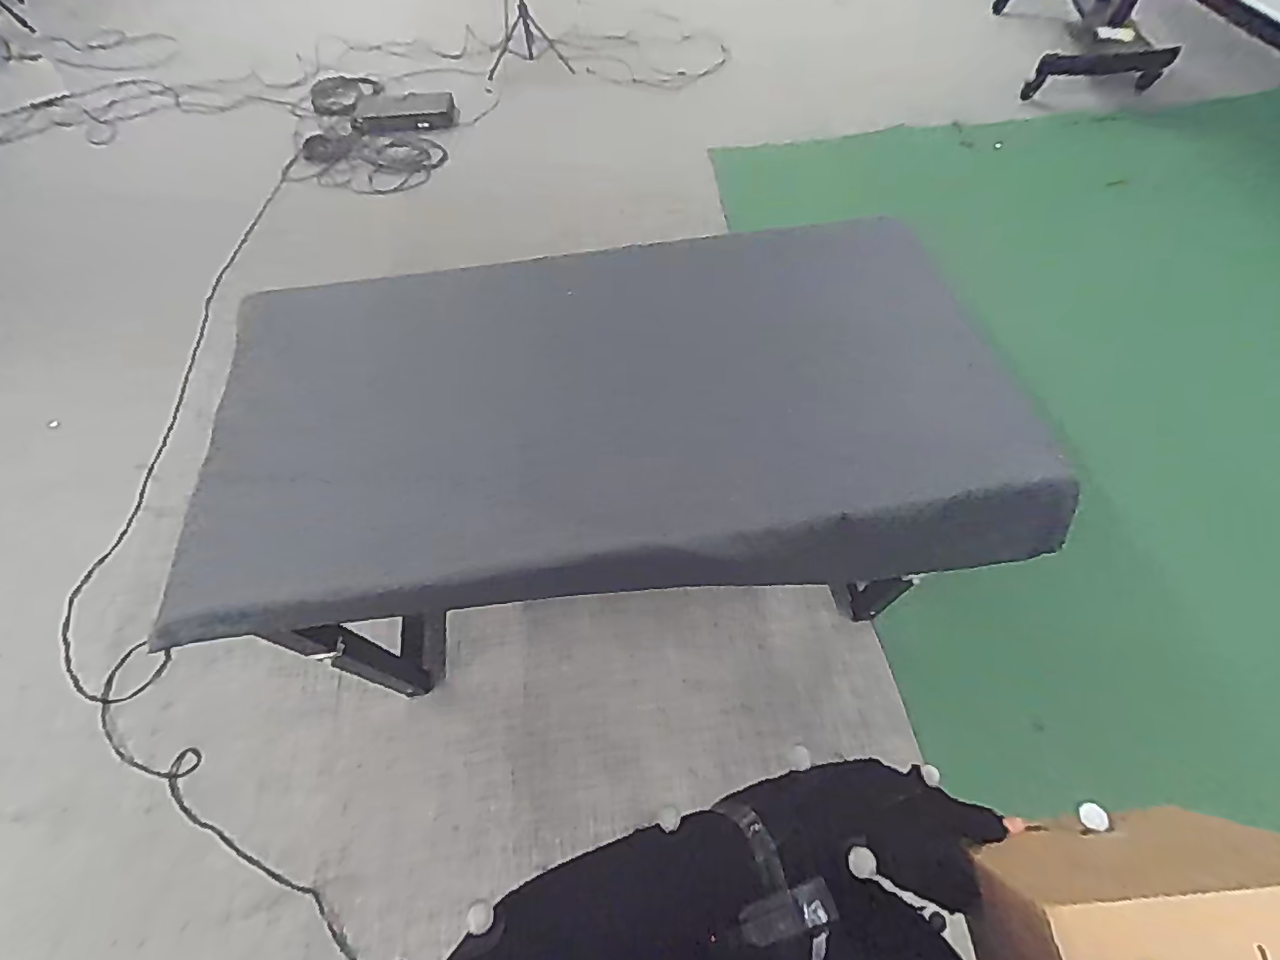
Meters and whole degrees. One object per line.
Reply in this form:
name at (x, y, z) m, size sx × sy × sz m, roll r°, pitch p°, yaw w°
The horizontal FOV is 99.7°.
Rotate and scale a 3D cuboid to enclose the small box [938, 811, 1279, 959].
small box at (0.300, 0.308, 0.305) m, size 0.168 × 0.176 × 0.179 m, roll -10°, pitch 66°, yaw 8°
